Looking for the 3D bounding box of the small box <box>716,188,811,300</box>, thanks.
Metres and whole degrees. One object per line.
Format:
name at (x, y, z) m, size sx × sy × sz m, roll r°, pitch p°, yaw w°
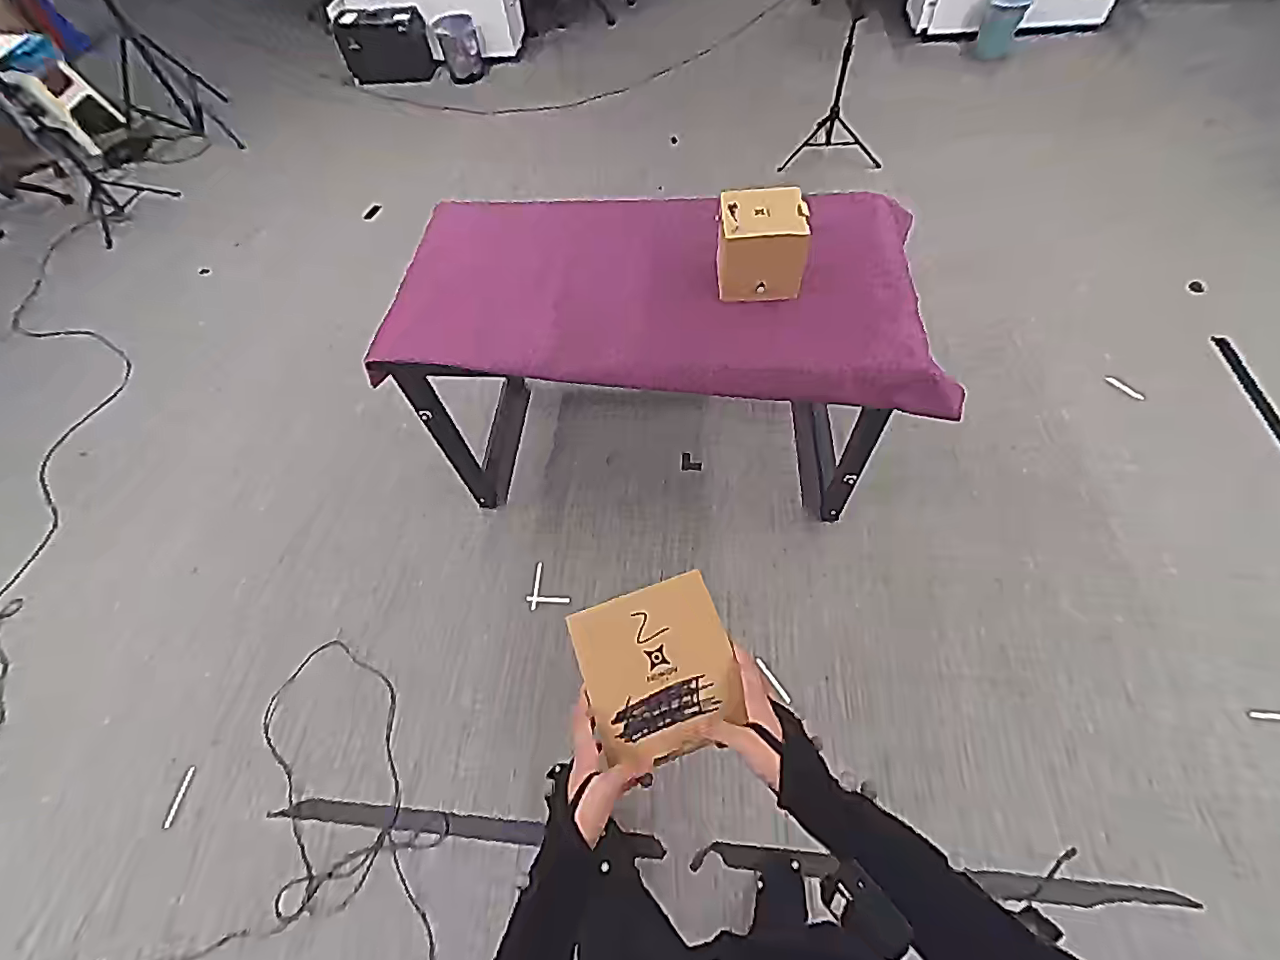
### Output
small box at (0.266, -0.520, 1.203) m, size 0.179 × 0.176 × 0.168 m, roll -1°, pitch 58°, yaw 4°
